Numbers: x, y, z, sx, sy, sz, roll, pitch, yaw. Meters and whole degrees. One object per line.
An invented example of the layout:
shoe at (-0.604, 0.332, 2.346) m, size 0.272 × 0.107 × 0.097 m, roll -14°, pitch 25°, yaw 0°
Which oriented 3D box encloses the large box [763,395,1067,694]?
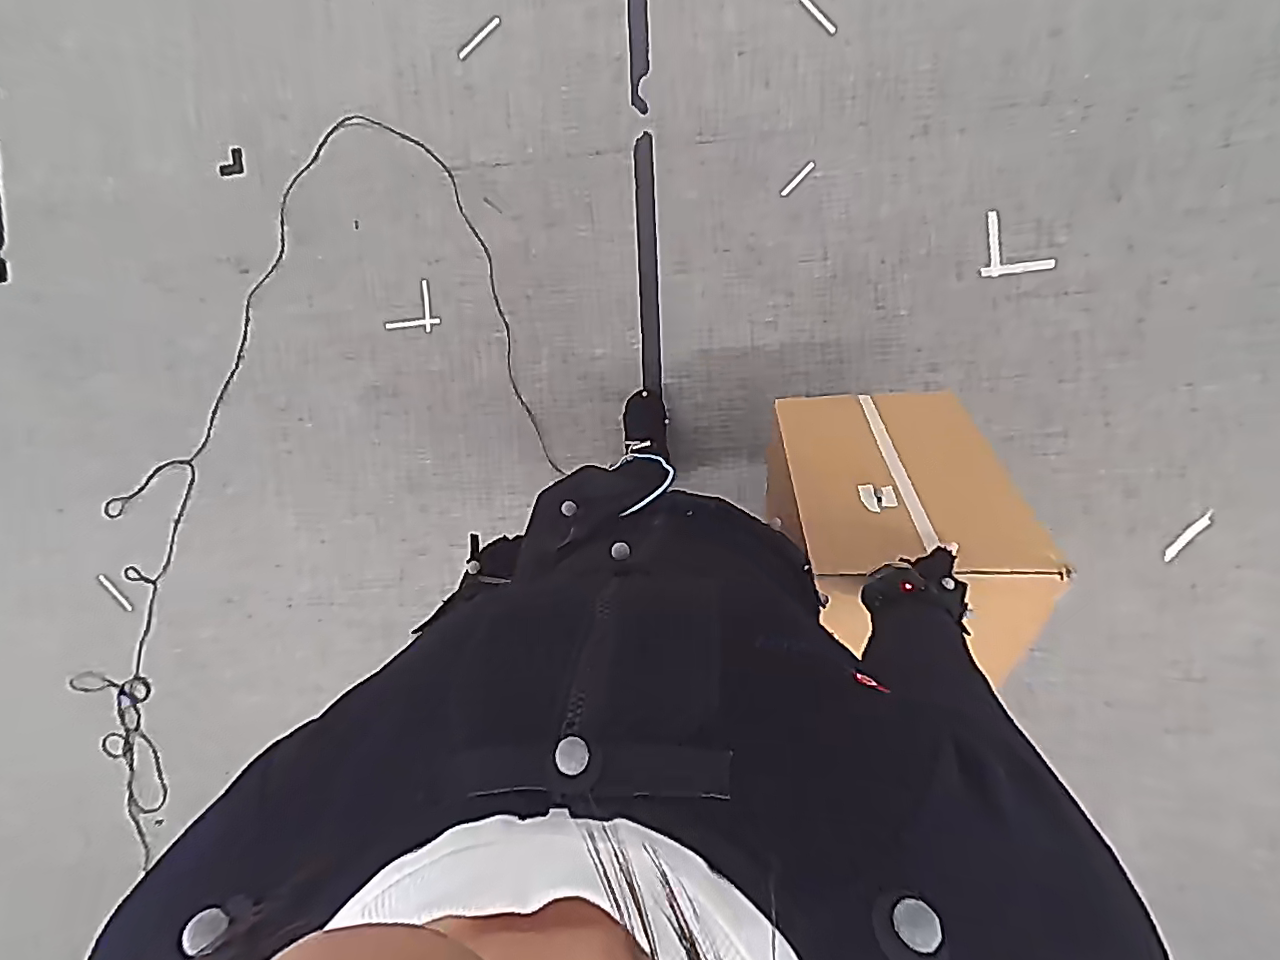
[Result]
large box at (0.392, 0.097, 0.913) m, size 0.320 × 0.408 × 0.320 m, roll -2°, pitch 132°, yaw 7°
